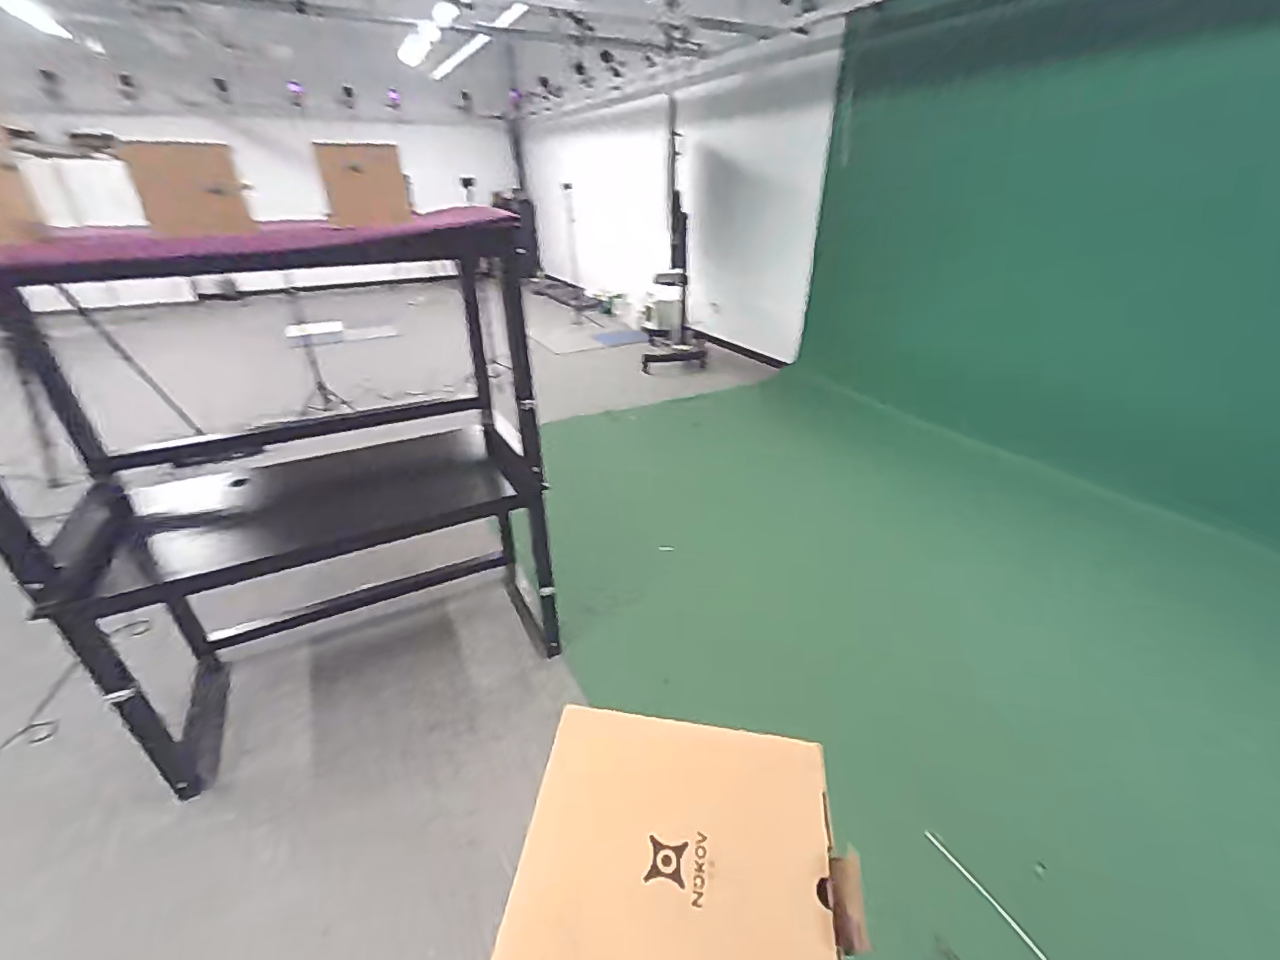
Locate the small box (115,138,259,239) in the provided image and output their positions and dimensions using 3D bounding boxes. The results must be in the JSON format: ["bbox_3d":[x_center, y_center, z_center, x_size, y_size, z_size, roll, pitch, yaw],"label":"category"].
[{"bbox_3d":[-0.914,-0.600,1.114,0.179,0.176,0.168,-17,33,-25],"label":"small box"}]

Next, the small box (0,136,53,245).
[{"bbox_3d":[-1.199,-0.507,0.948,0.168,0.176,0.179,-16,33,-27],"label":"small box"}]

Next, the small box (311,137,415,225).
[{"bbox_3d":[-0.643,-0.693,1.264,0.179,0.176,0.168,-15,30,-23],"label":"small box"}]
